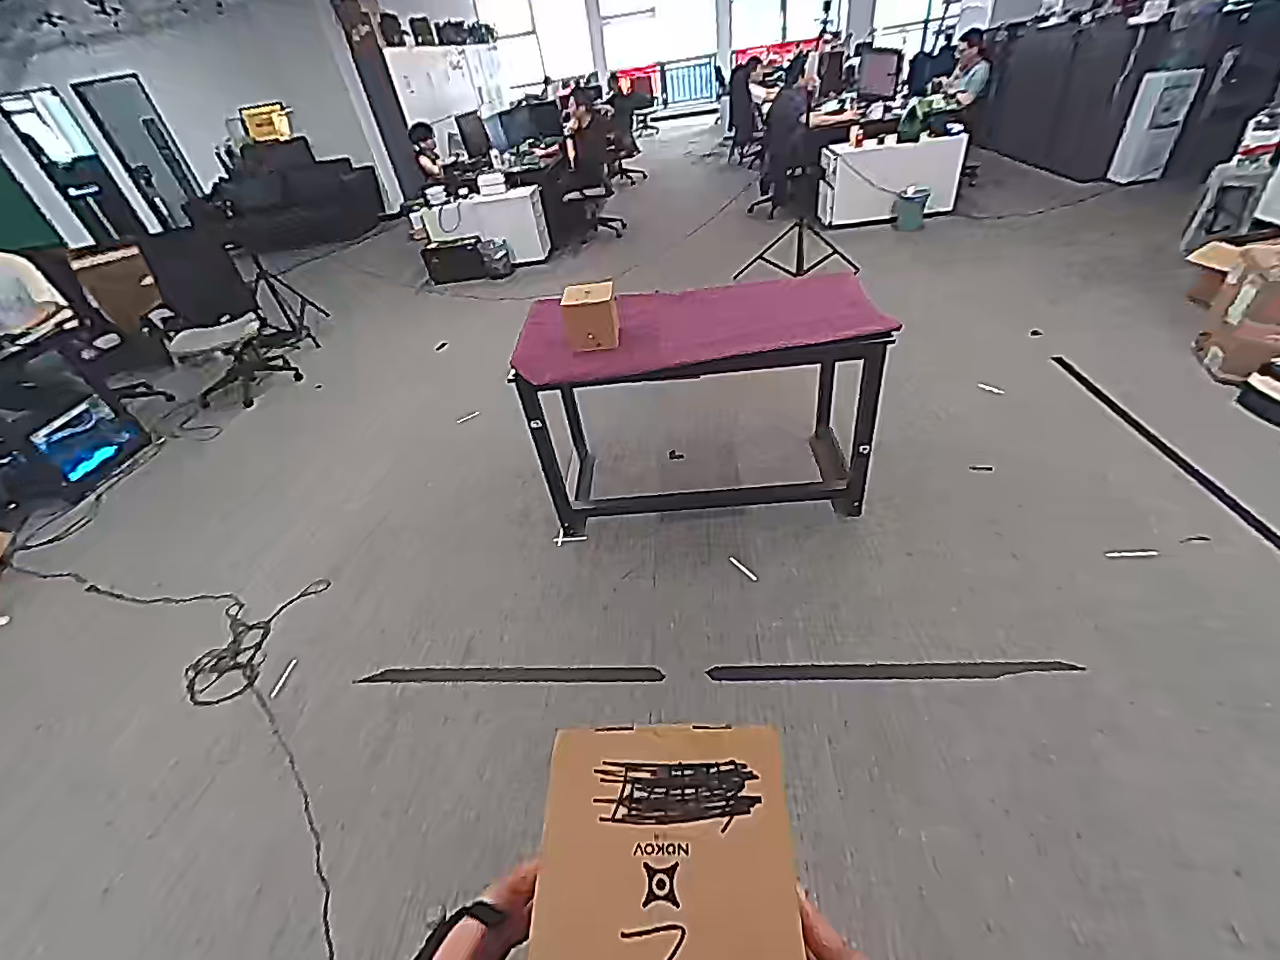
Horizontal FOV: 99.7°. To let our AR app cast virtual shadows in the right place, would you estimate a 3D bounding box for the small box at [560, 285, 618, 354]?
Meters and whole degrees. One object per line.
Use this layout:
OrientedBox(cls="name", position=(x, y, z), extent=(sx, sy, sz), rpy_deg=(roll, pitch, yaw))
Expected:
OrientedBox(cls="small box", position=(-0.168, -0.544, 1.838), extent=(0.168, 0.176, 0.179), rpy_deg=(-5, 39, 4))
